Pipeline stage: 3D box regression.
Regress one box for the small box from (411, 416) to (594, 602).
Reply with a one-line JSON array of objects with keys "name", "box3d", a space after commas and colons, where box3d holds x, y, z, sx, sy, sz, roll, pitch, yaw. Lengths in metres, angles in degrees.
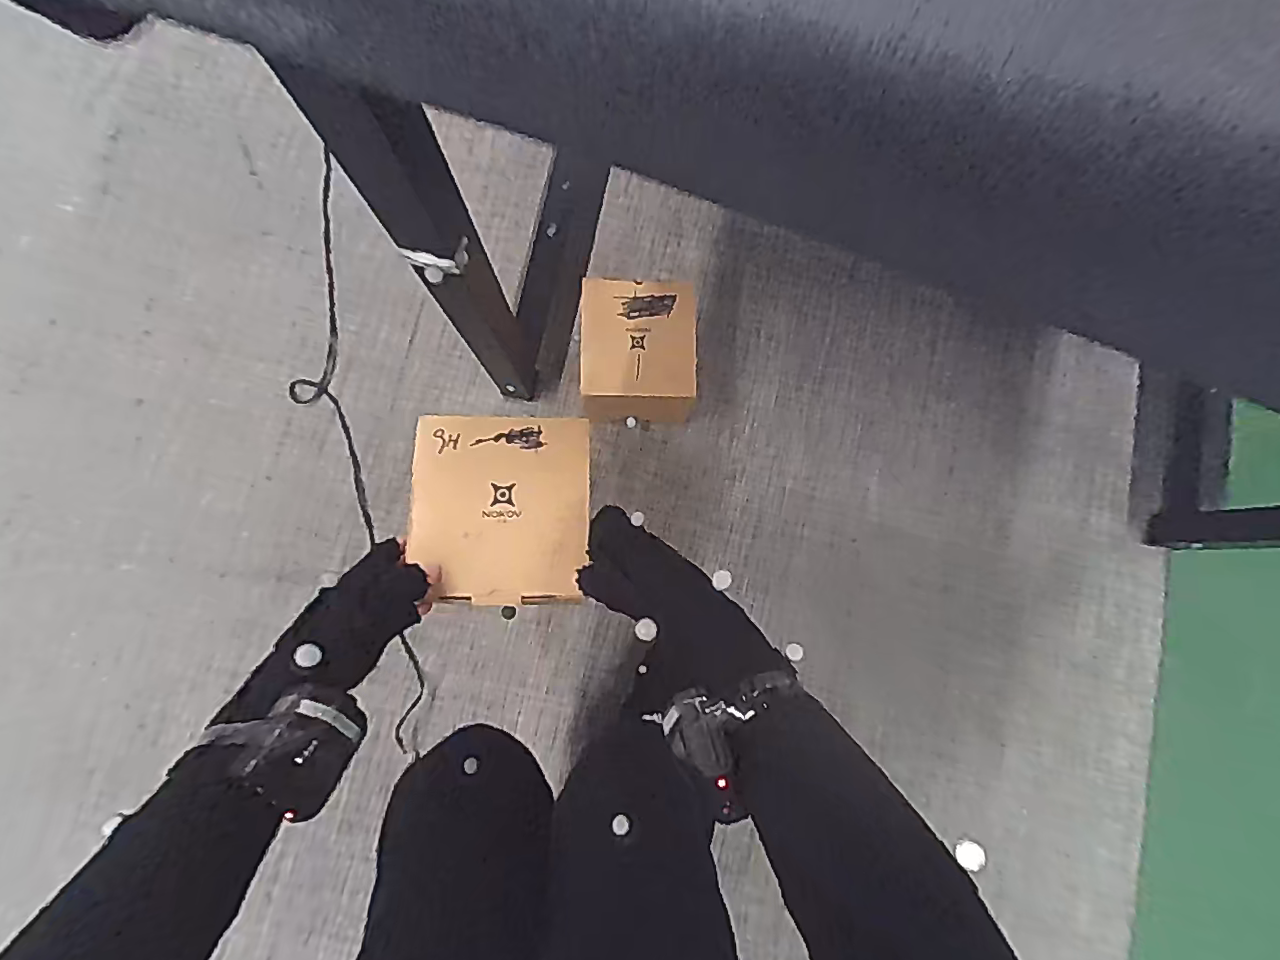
[{"name": "small box", "box3d": [-0.134, 0.043, 0.592, 0.168, 0.176, 0.179, 1, 74, -6]}]
